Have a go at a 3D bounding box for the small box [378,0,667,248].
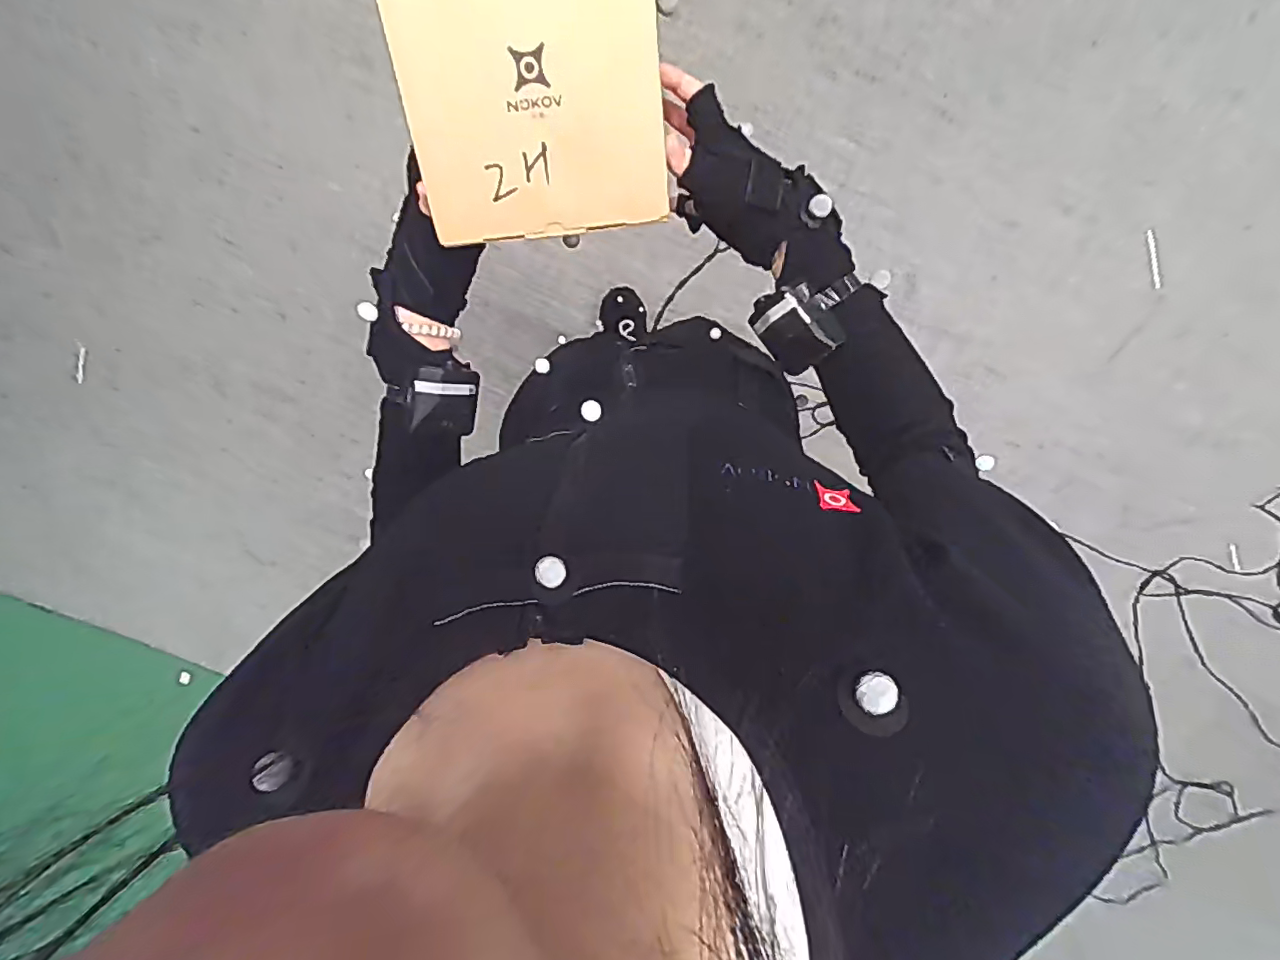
[{"bbox_3d":[-0.071,-0.280,0.408,0.168,0.176,0.179,-5,117,2],"label":"small box"}]
